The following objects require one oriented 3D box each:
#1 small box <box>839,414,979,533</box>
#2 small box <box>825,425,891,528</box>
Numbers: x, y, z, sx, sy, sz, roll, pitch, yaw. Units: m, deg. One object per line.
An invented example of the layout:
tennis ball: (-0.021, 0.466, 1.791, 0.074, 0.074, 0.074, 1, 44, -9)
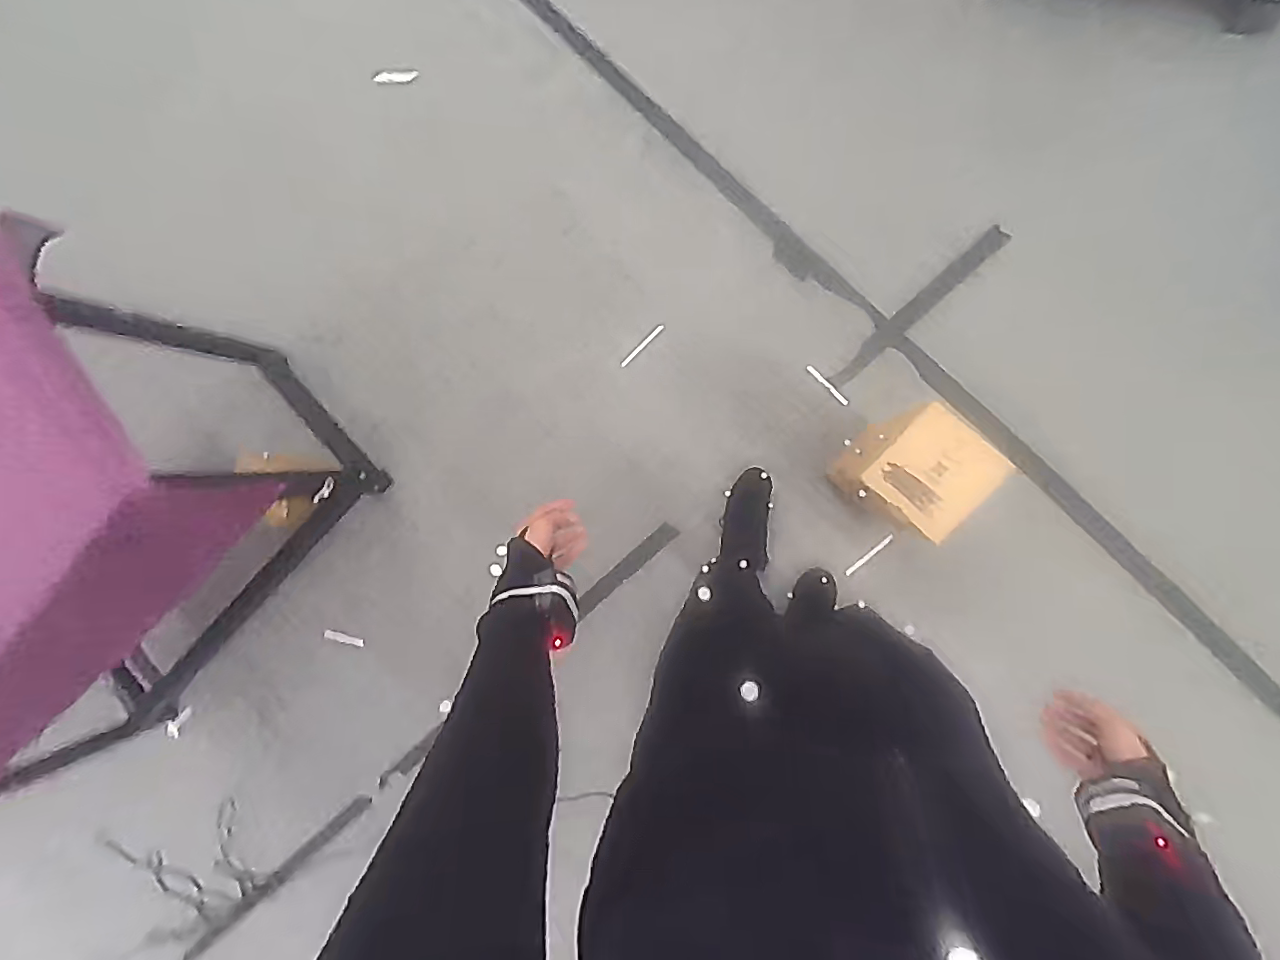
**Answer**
small box: (0.539, -0.017, 1.116, 0.179, 0.176, 0.168, -42, 85, 11)
small box: (0.564, -0.013, 1.277, 0.179, 0.176, 0.168, 45, 100, 7)
